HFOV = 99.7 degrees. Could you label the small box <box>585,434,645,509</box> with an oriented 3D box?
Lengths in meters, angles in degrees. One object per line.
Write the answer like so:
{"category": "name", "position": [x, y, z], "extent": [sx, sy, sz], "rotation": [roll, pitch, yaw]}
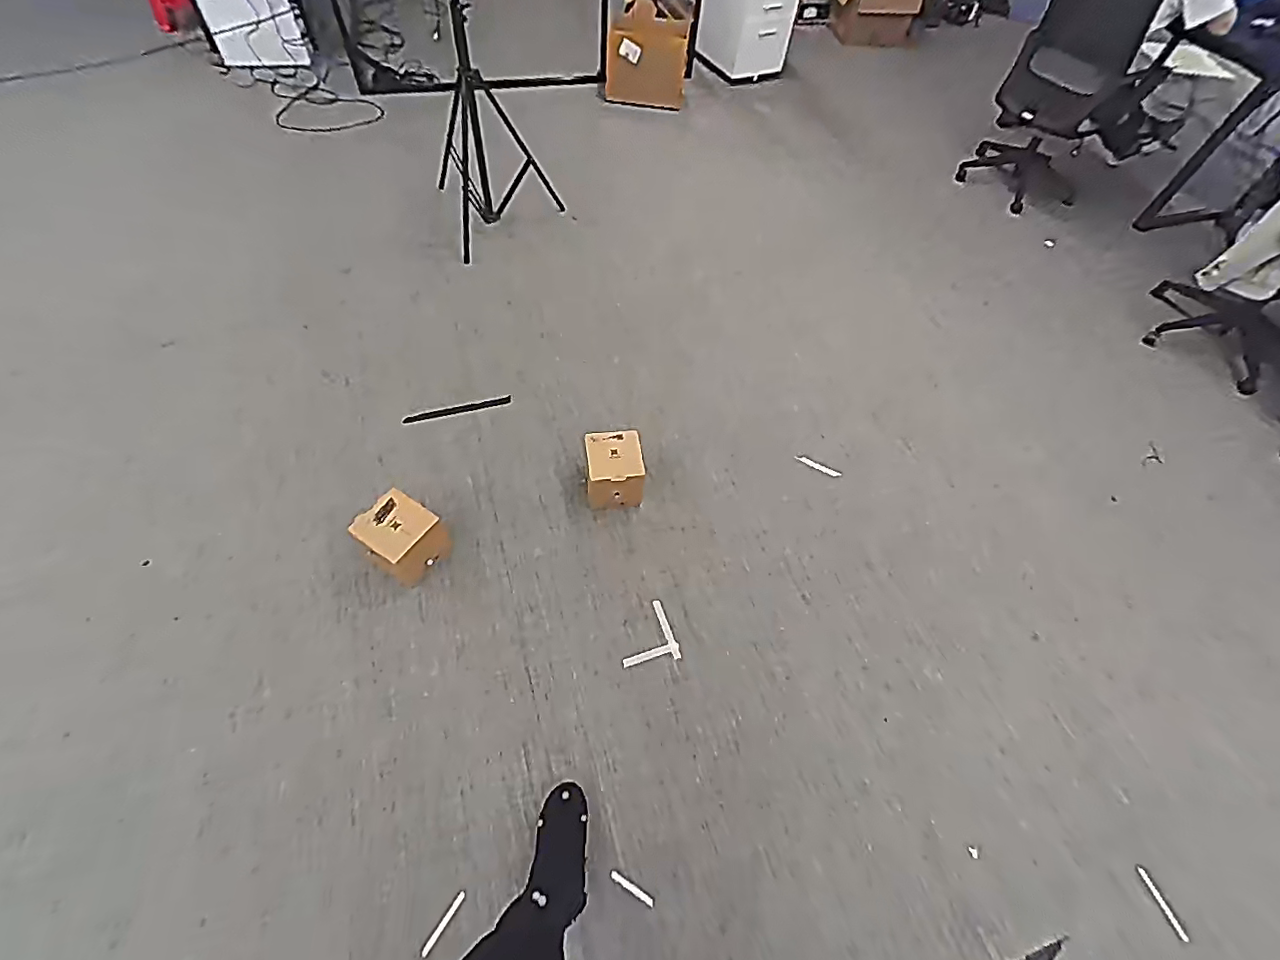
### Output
{"category": "small box", "position": [-0.081, -0.021, 1.688], "extent": [0.168, 0.176, 0.179], "rotation": [-5, 58, -9]}

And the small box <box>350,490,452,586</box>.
{"category": "small box", "position": [-0.657, 0.168, 1.507], "extent": [0.179, 0.176, 0.168], "rotation": [30, 59, 13]}
